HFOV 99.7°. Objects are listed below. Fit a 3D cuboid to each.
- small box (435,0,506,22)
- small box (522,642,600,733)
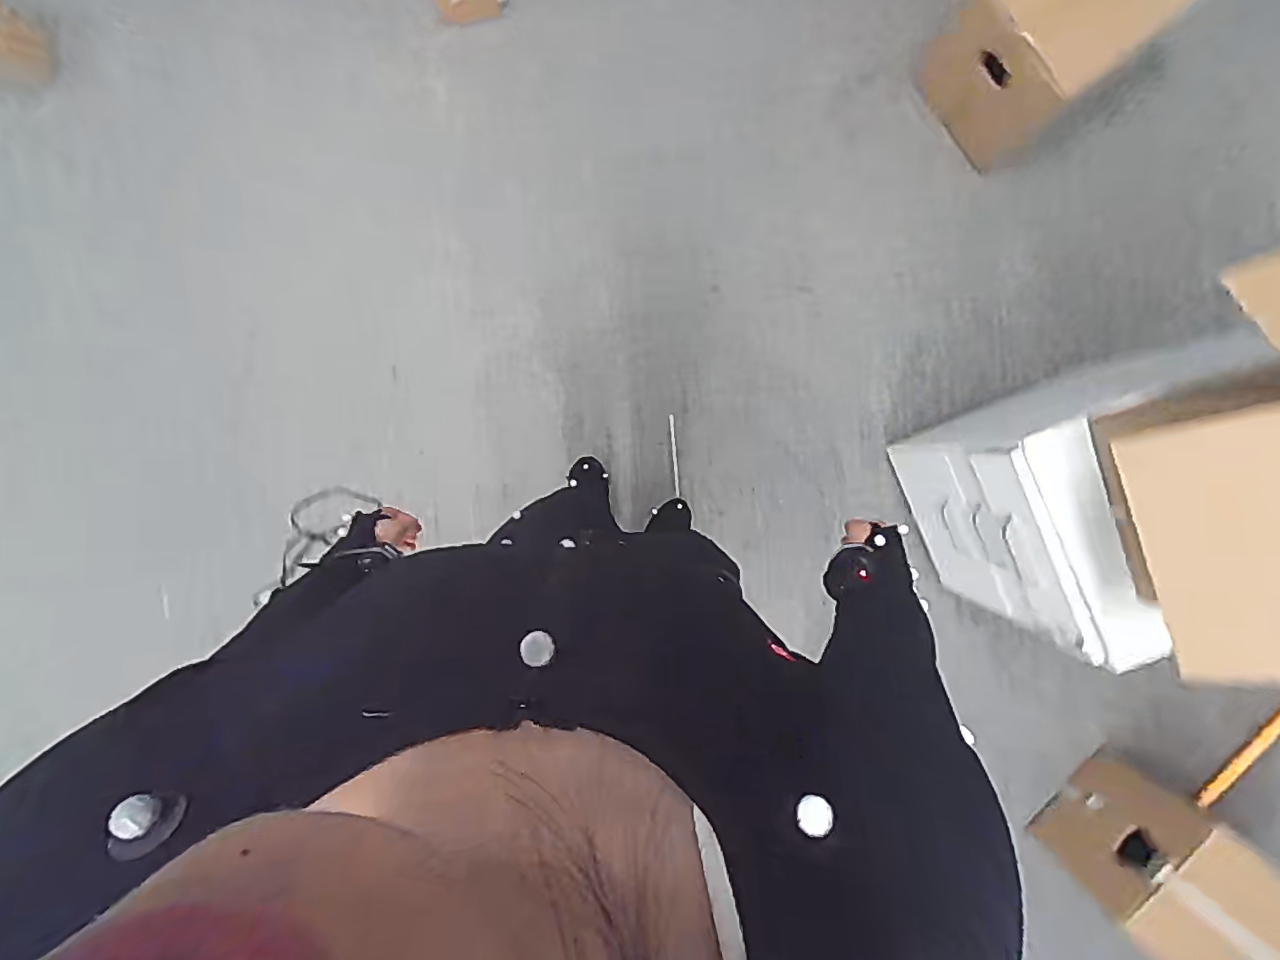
[{"bbox_3d":[-0.448,-1.316,1.374,0.179,0.176,0.168,-3,93,3],"label":"small box"},{"bbox_3d":[-0.205,0.543,1.439,0.168,0.176,0.179,-7,91,4],"label":"small box"}]
